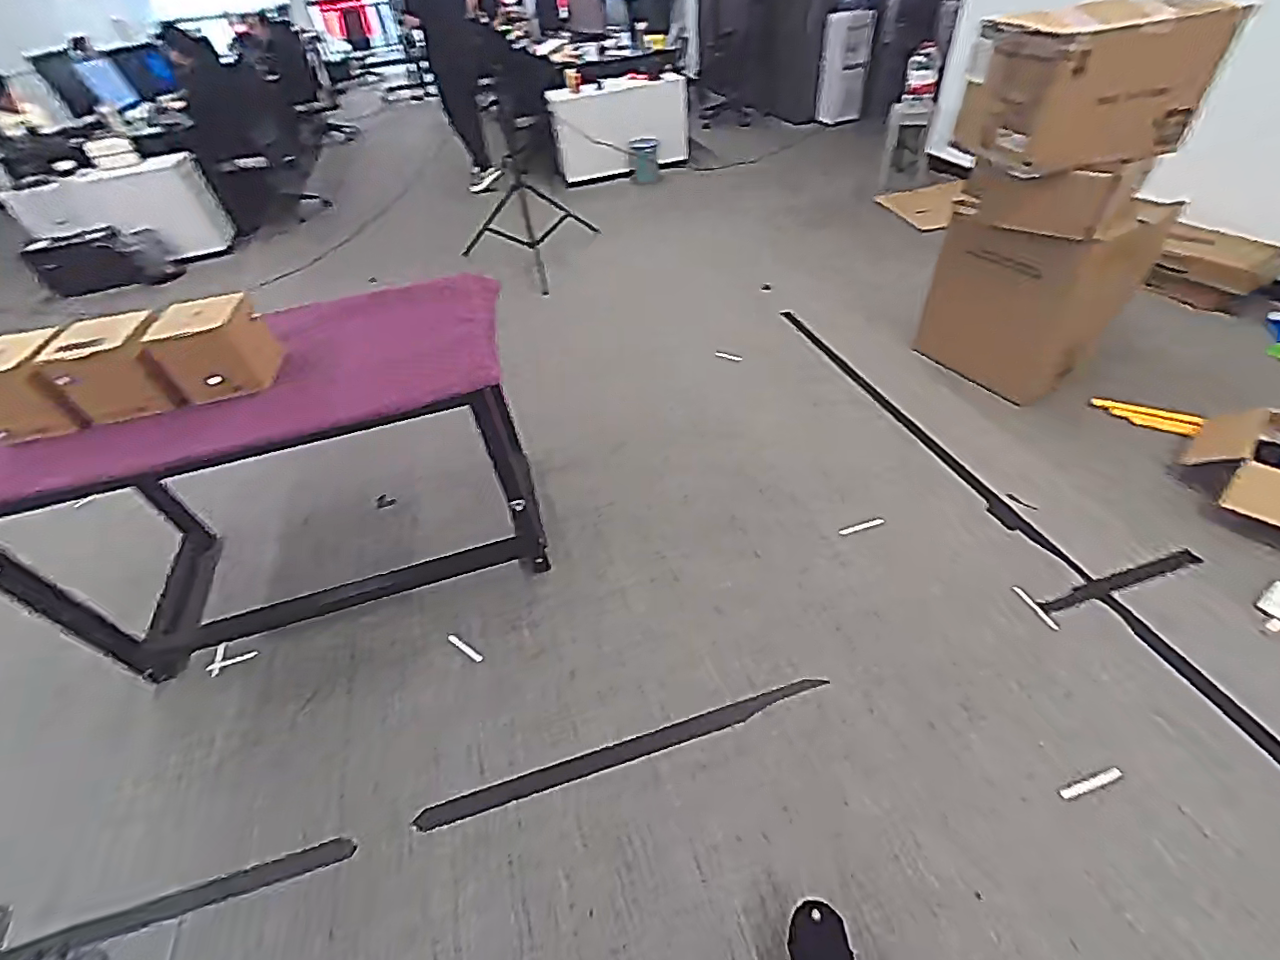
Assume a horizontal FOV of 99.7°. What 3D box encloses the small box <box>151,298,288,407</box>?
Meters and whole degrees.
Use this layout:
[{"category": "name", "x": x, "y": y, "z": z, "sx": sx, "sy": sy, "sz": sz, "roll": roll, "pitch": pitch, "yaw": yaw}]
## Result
[{"category": "small box", "x": -0.958, "y": -0.296, "z": 1.255, "sx": 0.168, "sy": 0.176, "sz": 0.179, "roll": -14, "pitch": 45, "yaw": -5}]
